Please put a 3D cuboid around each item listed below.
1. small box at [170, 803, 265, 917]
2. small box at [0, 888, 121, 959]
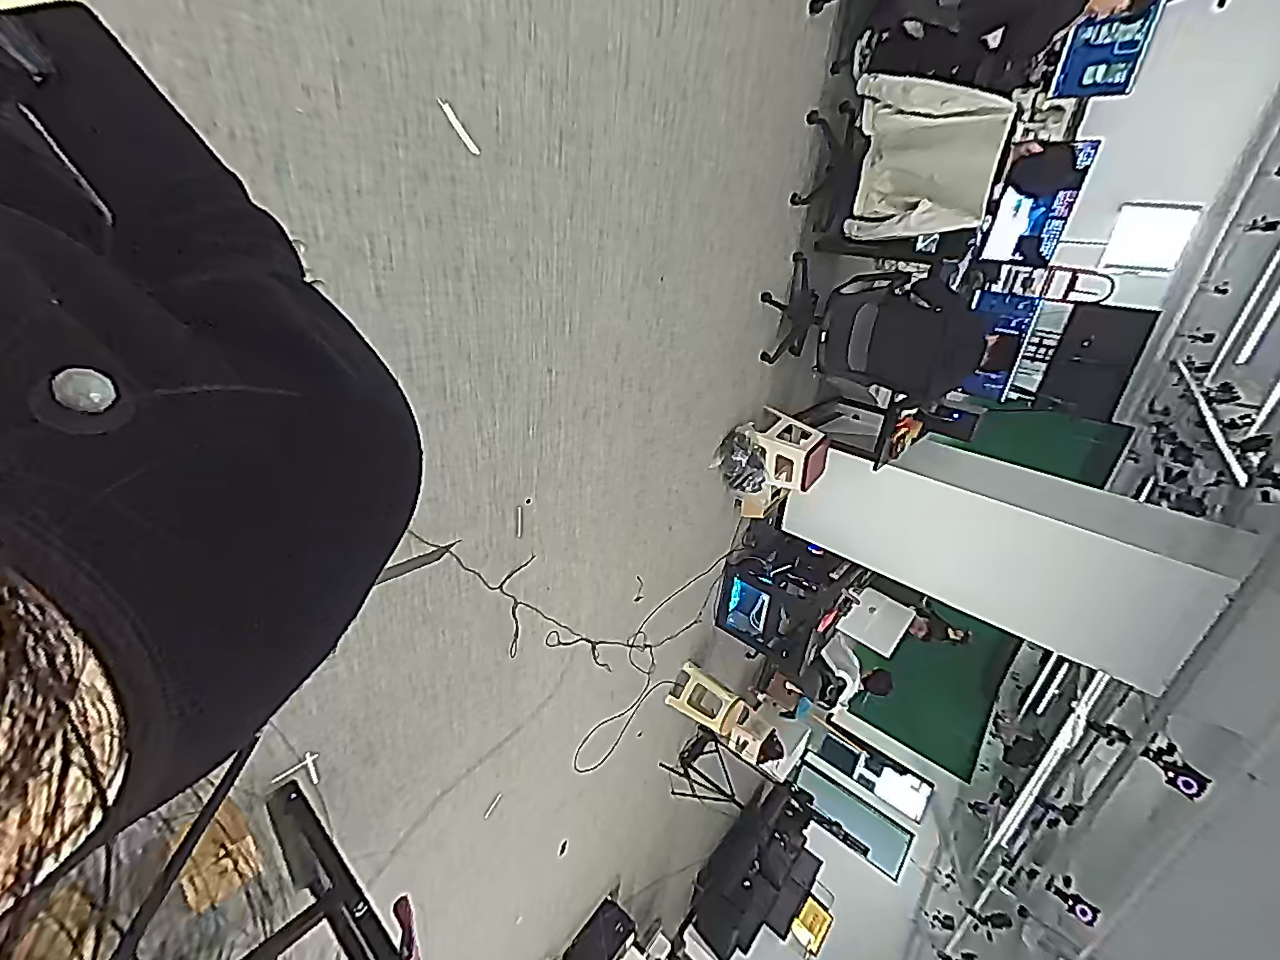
[{"bbox_3d":[-1.220,1.089,1.564,0.168,0.176,0.179,-21,127,-47],"label":"small box"},{"bbox_3d":[-1.423,1.170,1.334,0.168,0.176,0.179,-24,128,-45],"label":"small box"}]
